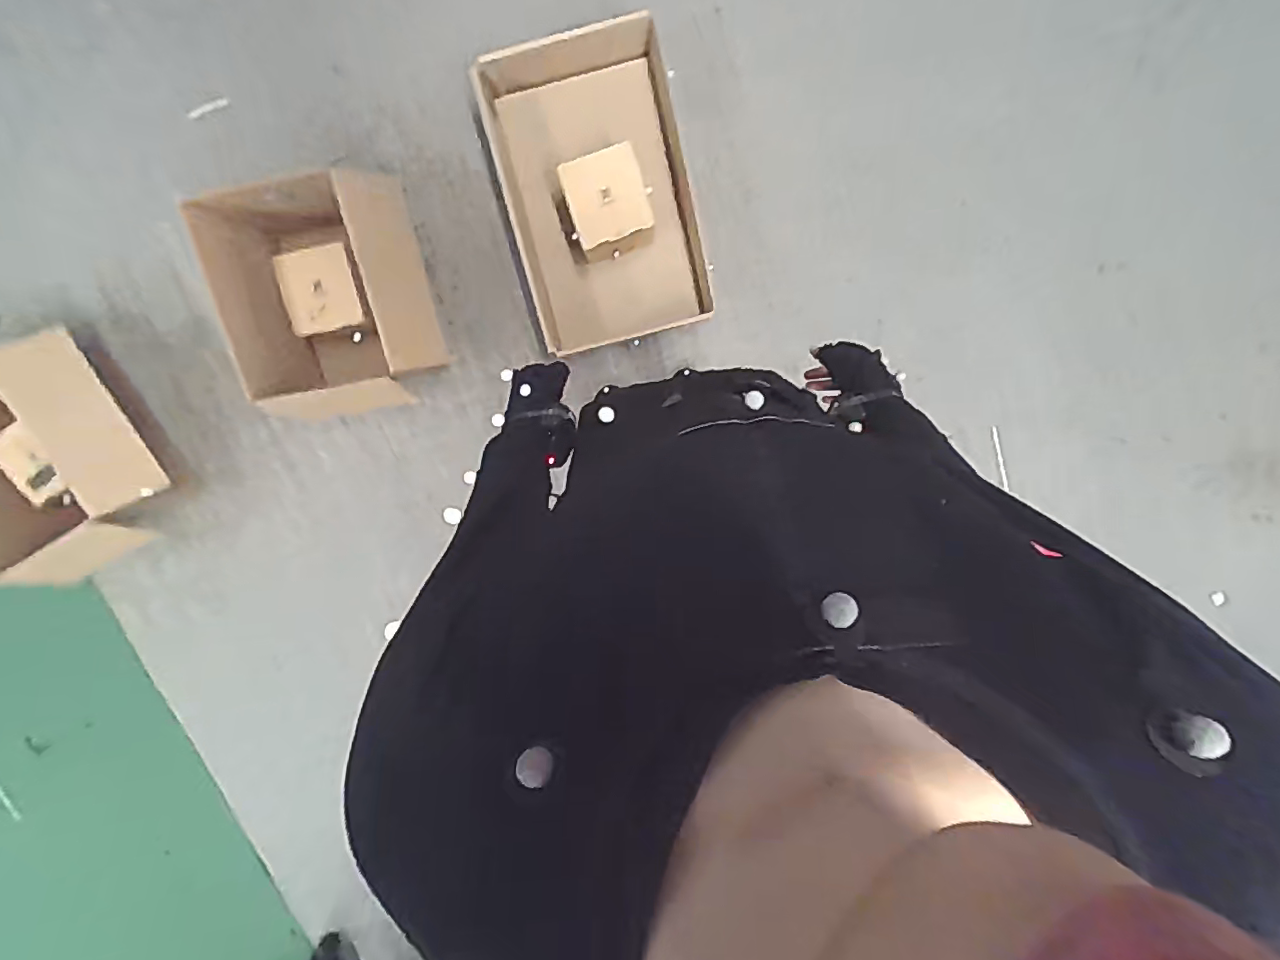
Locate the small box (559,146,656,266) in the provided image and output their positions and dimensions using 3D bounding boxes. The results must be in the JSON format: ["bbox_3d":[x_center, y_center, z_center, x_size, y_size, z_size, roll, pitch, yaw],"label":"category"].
[{"bbox_3d":[-0.071,-0.607,1.219,0.168,0.176,0.179,-18,101,3],"label":"small box"}]
